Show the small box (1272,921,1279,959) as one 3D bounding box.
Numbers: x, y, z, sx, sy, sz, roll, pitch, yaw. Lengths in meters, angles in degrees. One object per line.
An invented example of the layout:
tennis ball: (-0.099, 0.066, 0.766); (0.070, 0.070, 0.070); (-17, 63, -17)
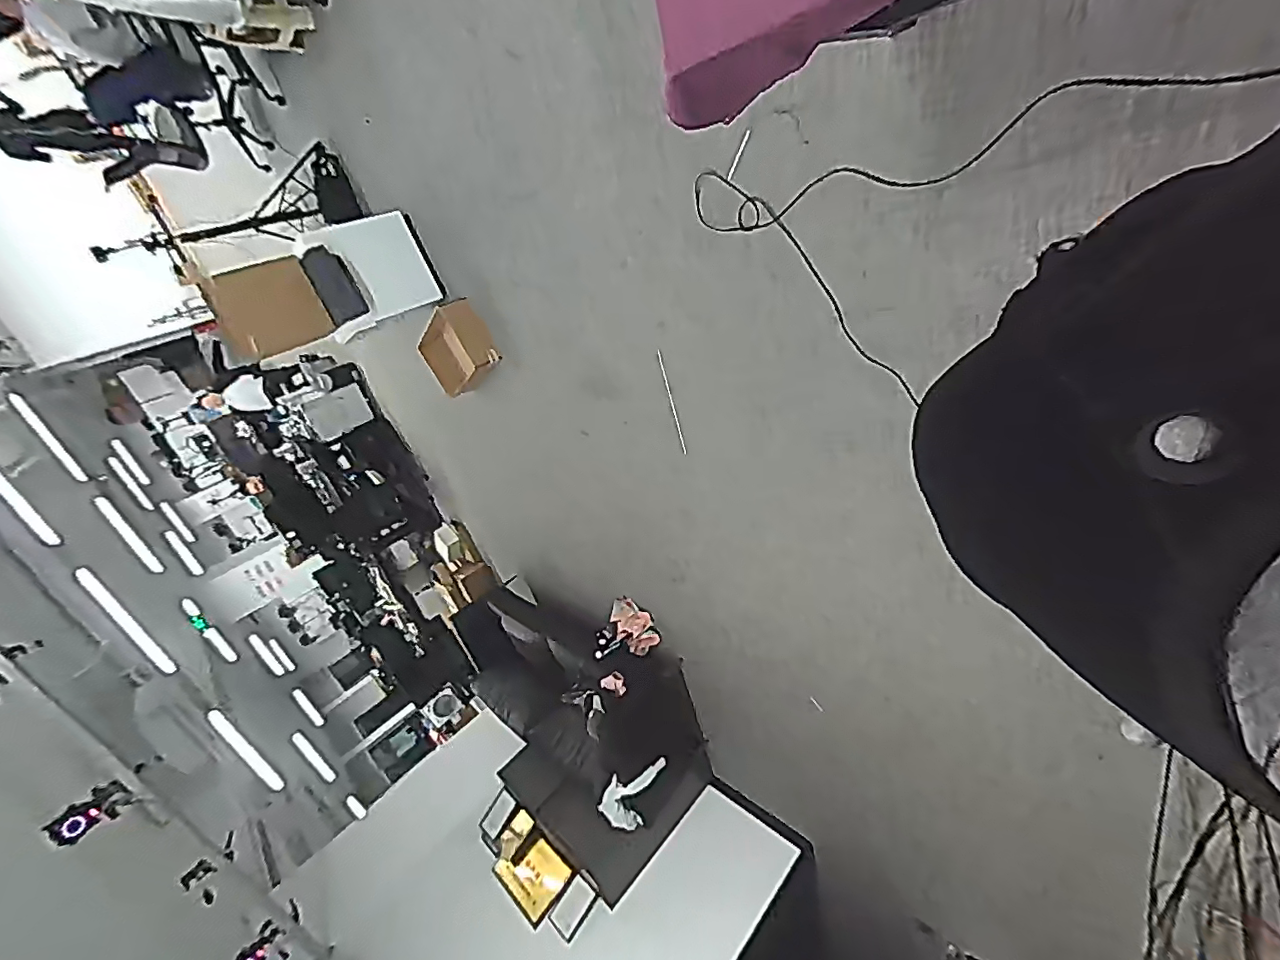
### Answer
small box: (1.860, 1.318, 1.464); (0.179, 0.176, 0.168); (11, 128, 46)
